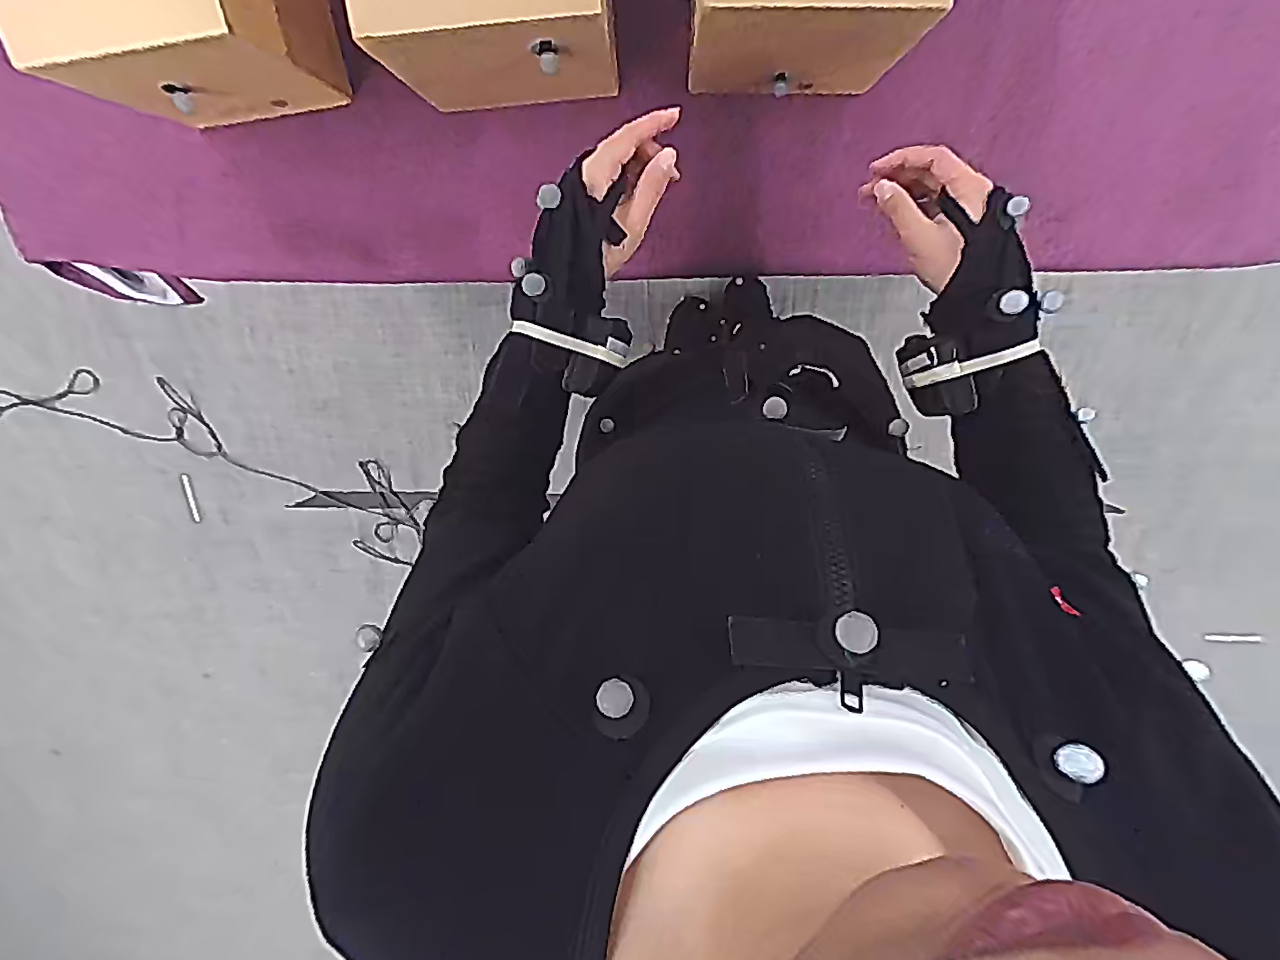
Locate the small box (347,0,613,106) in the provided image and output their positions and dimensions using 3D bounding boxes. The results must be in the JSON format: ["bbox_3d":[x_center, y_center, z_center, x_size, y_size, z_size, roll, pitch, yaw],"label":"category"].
[{"bbox_3d":[-0.114,-0.413,0.414,0.179,0.176,0.168,-4,109,3],"label":"small box"}]

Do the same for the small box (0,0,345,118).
[{"bbox_3d":[-0.370,-0.411,0.426,0.168,0.176,0.179,-6,109,4],"label":"small box"}]
